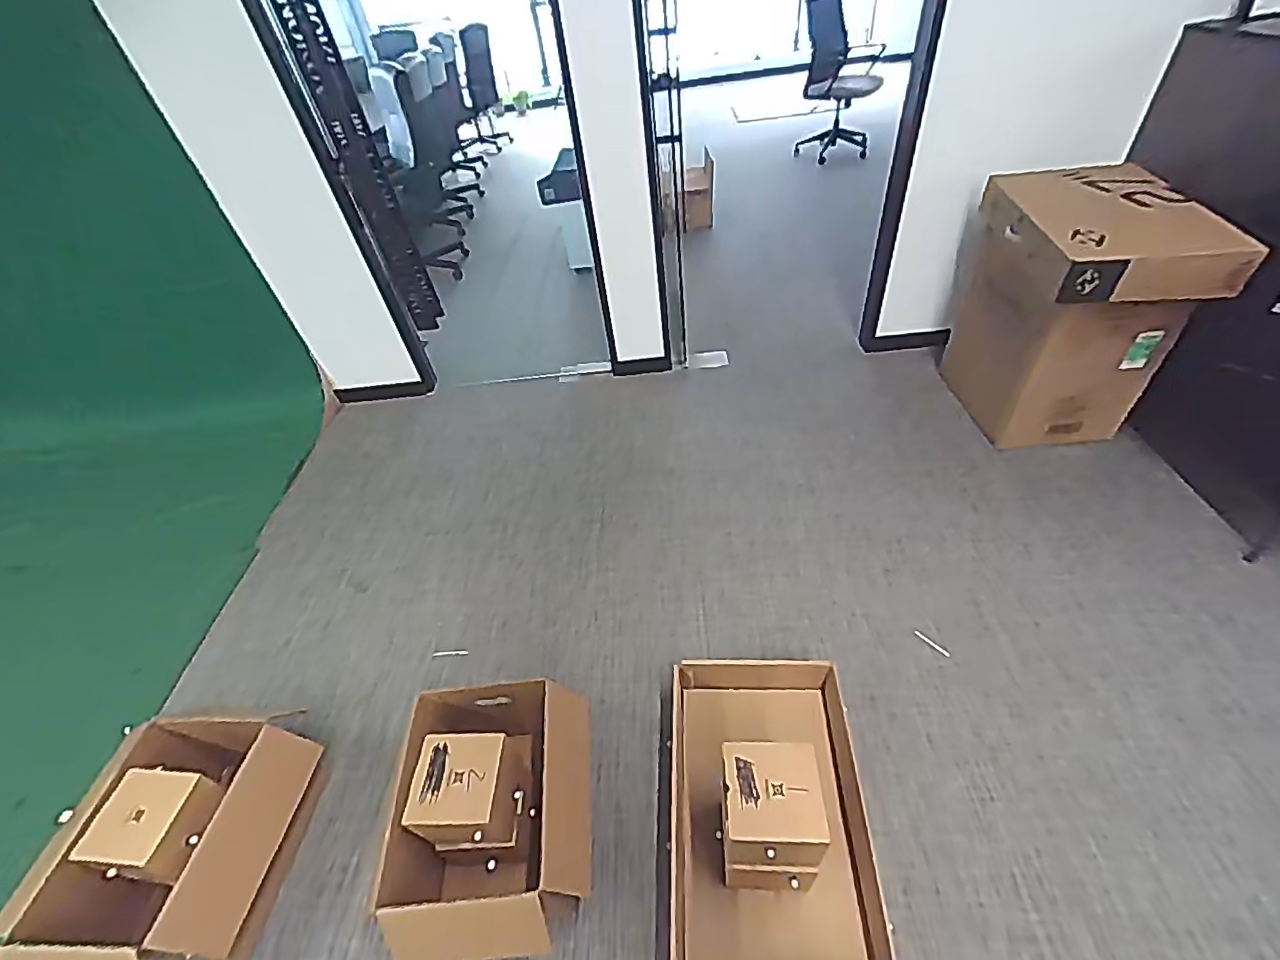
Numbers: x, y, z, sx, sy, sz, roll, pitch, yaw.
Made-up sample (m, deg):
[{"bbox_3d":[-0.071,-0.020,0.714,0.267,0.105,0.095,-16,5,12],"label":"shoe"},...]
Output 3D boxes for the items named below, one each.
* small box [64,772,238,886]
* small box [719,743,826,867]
[{"bbox_3d":[-1.016,0.741,1.146,0.179,0.176,0.168,0,44,7],"label":"small box"},{"bbox_3d":[0.243,0.625,1.038,0.179,0.176,0.168,-1,42,5],"label":"small box"}]
